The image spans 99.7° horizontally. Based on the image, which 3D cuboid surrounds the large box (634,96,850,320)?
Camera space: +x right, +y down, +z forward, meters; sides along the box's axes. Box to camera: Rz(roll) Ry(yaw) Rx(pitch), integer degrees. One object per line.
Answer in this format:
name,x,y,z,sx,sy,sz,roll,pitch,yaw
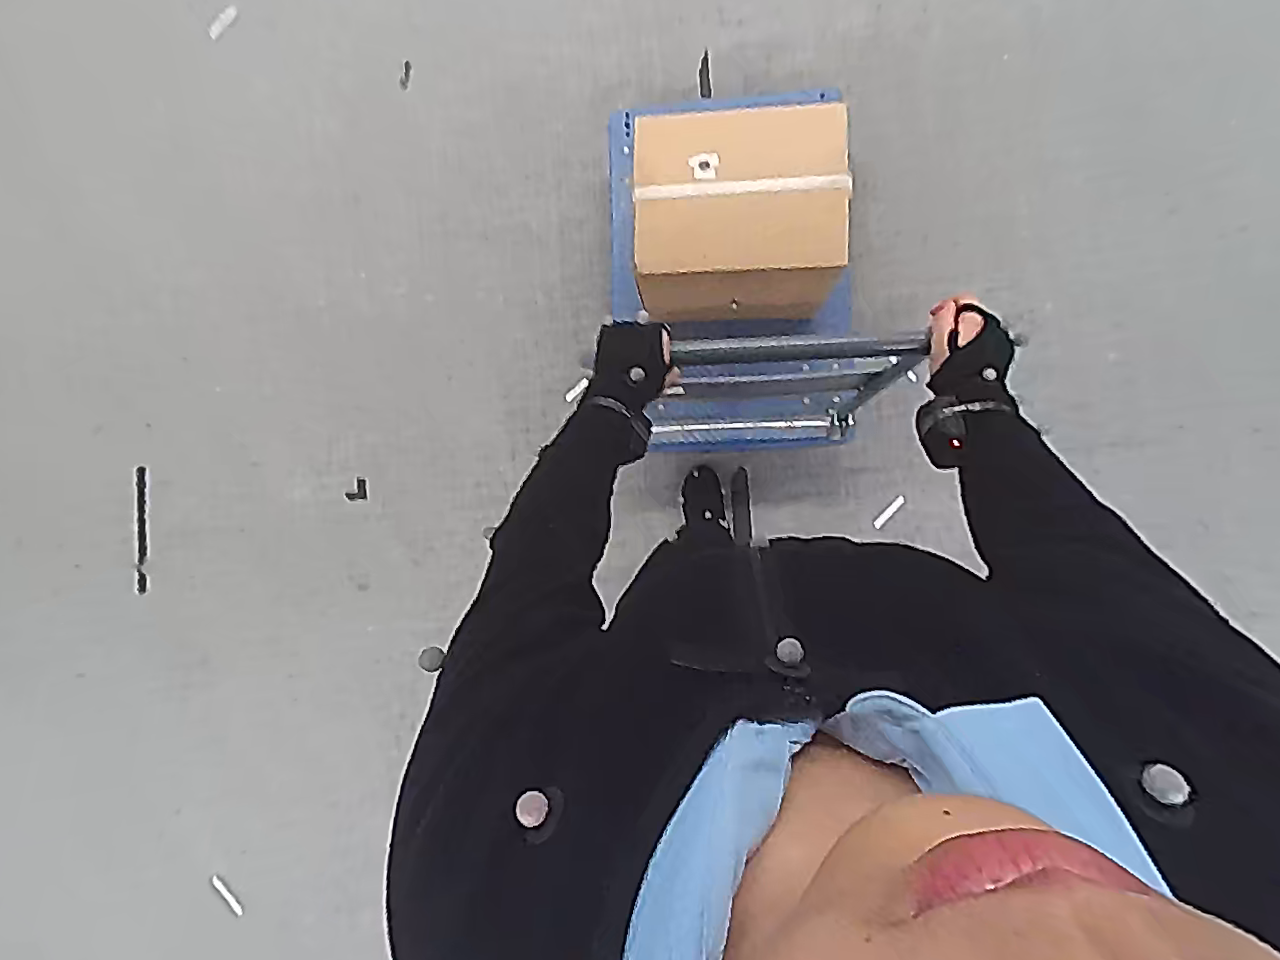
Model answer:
large box,0.208,-0.551,1.168,0.408,0.320,0.320,-1,87,7
